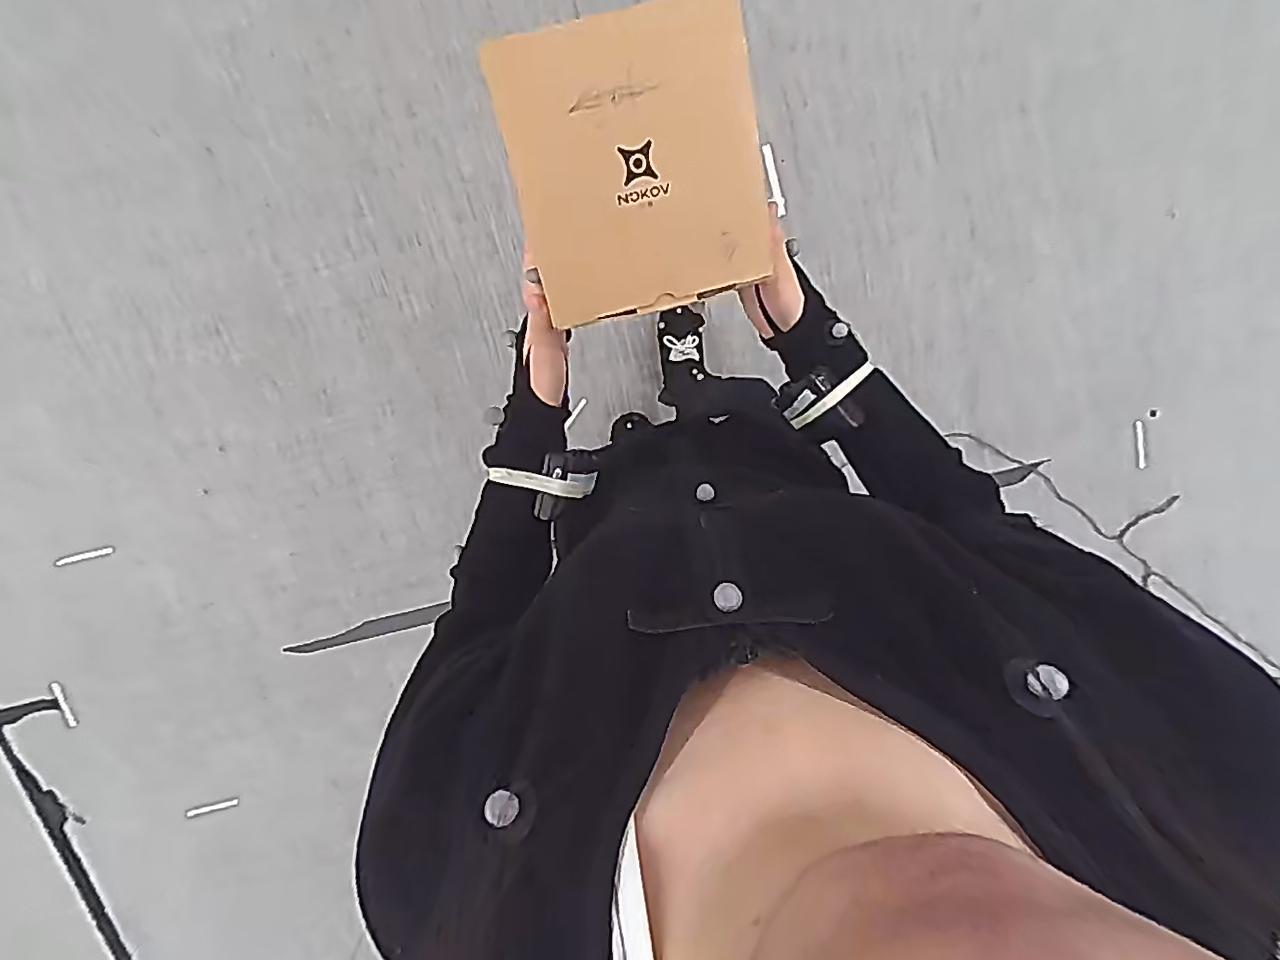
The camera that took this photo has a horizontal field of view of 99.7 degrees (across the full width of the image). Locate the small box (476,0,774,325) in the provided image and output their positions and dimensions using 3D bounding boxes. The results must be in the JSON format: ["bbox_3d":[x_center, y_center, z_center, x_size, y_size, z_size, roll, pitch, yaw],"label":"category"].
[{"bbox_3d":[-0.009,-0.233,0.430,0.168,0.176,0.179,-15,108,-1],"label":"small box"}]
